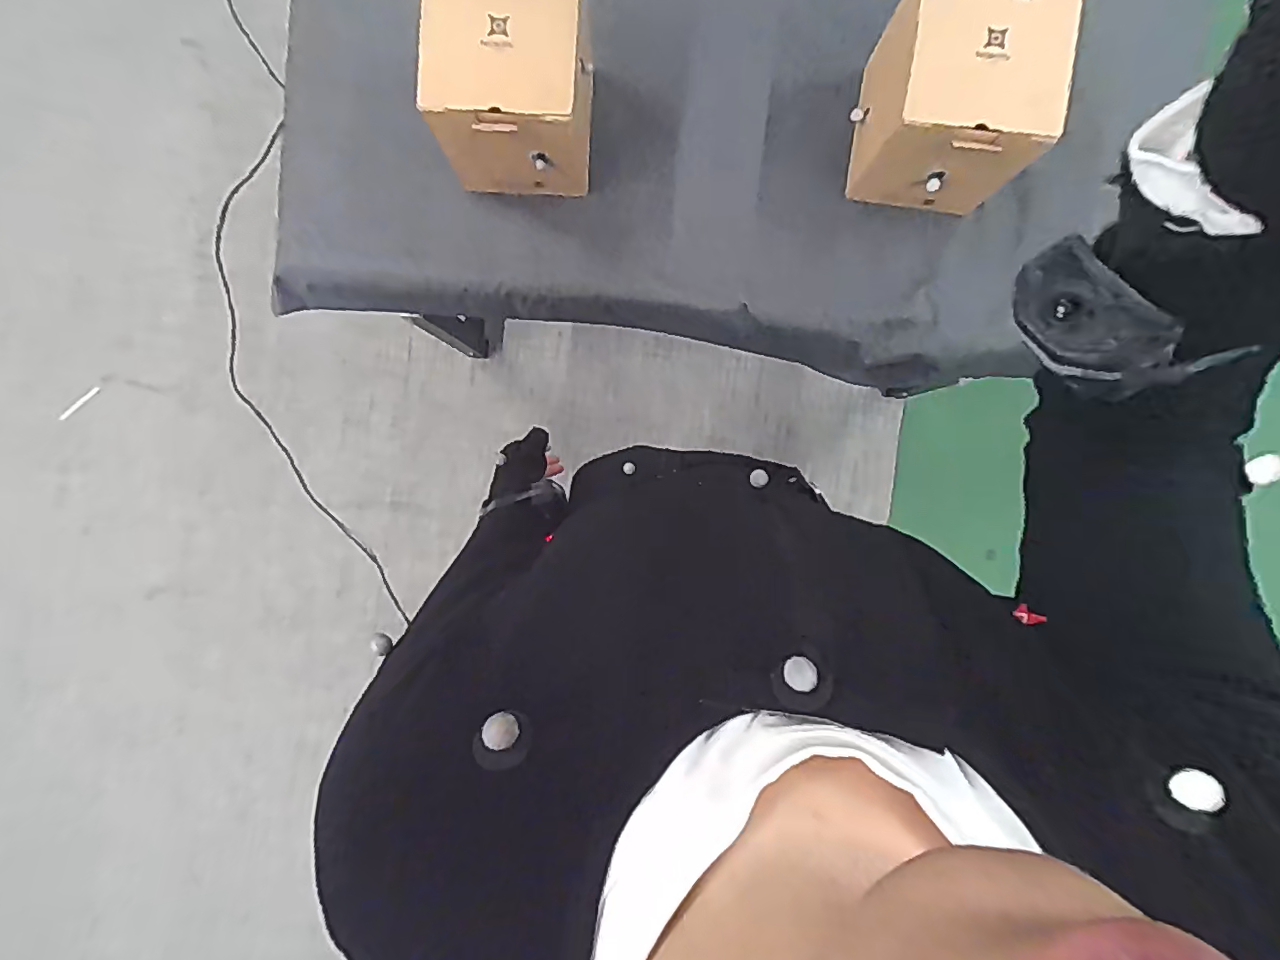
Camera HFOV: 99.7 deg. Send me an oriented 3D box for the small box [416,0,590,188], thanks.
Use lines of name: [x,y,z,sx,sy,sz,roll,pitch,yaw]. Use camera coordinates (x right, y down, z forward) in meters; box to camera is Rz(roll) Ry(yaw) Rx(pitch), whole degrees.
small box: [-0.148,-0.473,0.638,0.168,0.176,0.179,3,90,-1]

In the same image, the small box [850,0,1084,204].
small box: [0.364,-0.452,0.633,0.168,0.176,0.179,8,93,0]
